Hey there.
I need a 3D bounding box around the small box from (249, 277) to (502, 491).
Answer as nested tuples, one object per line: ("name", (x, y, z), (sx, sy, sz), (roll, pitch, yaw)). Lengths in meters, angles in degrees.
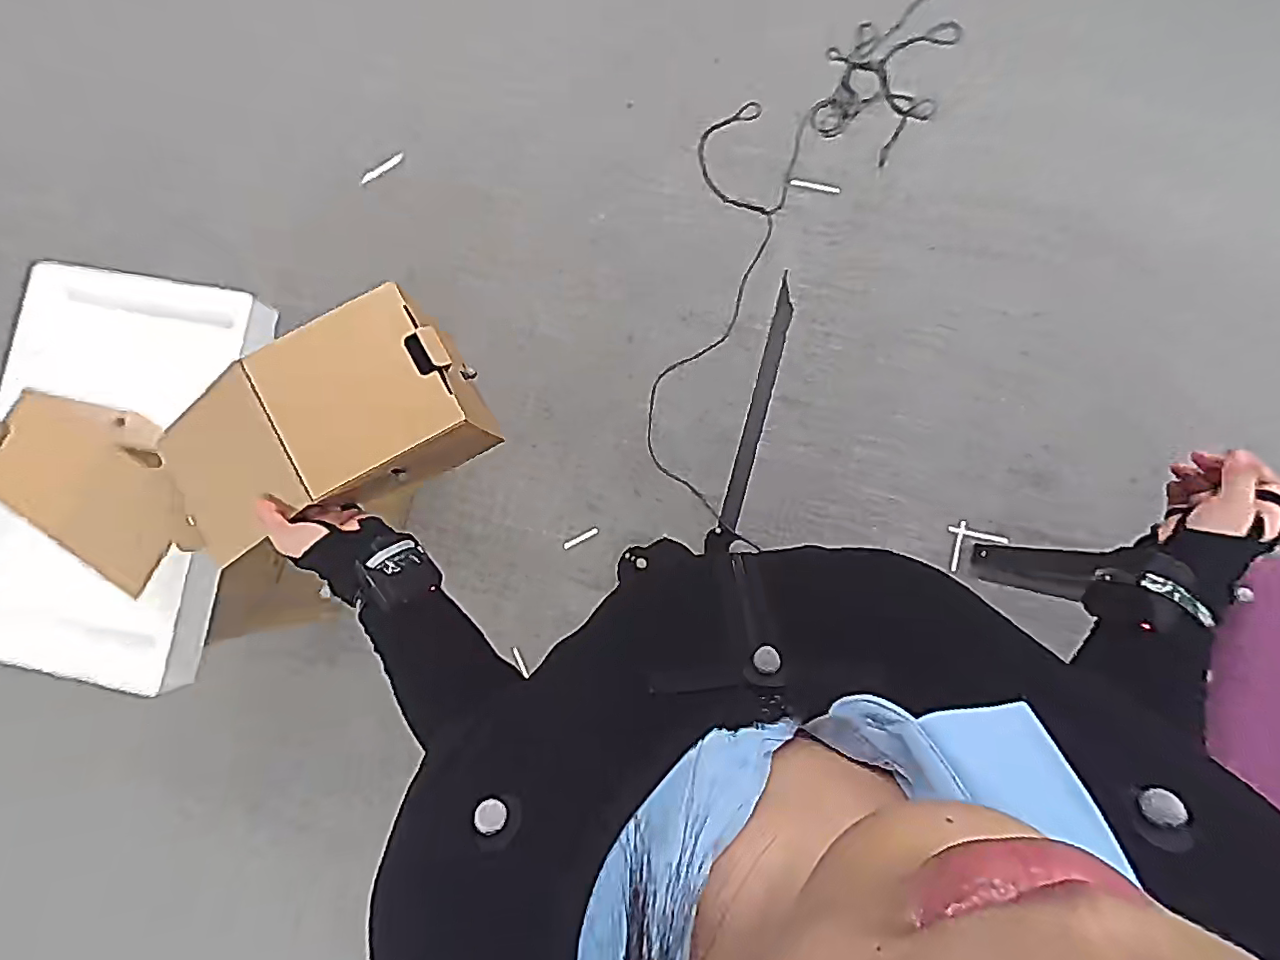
("small box", (-0.285, -0.093, 0.624), (0.179, 0.176, 0.168), (-27, 89, -3))
